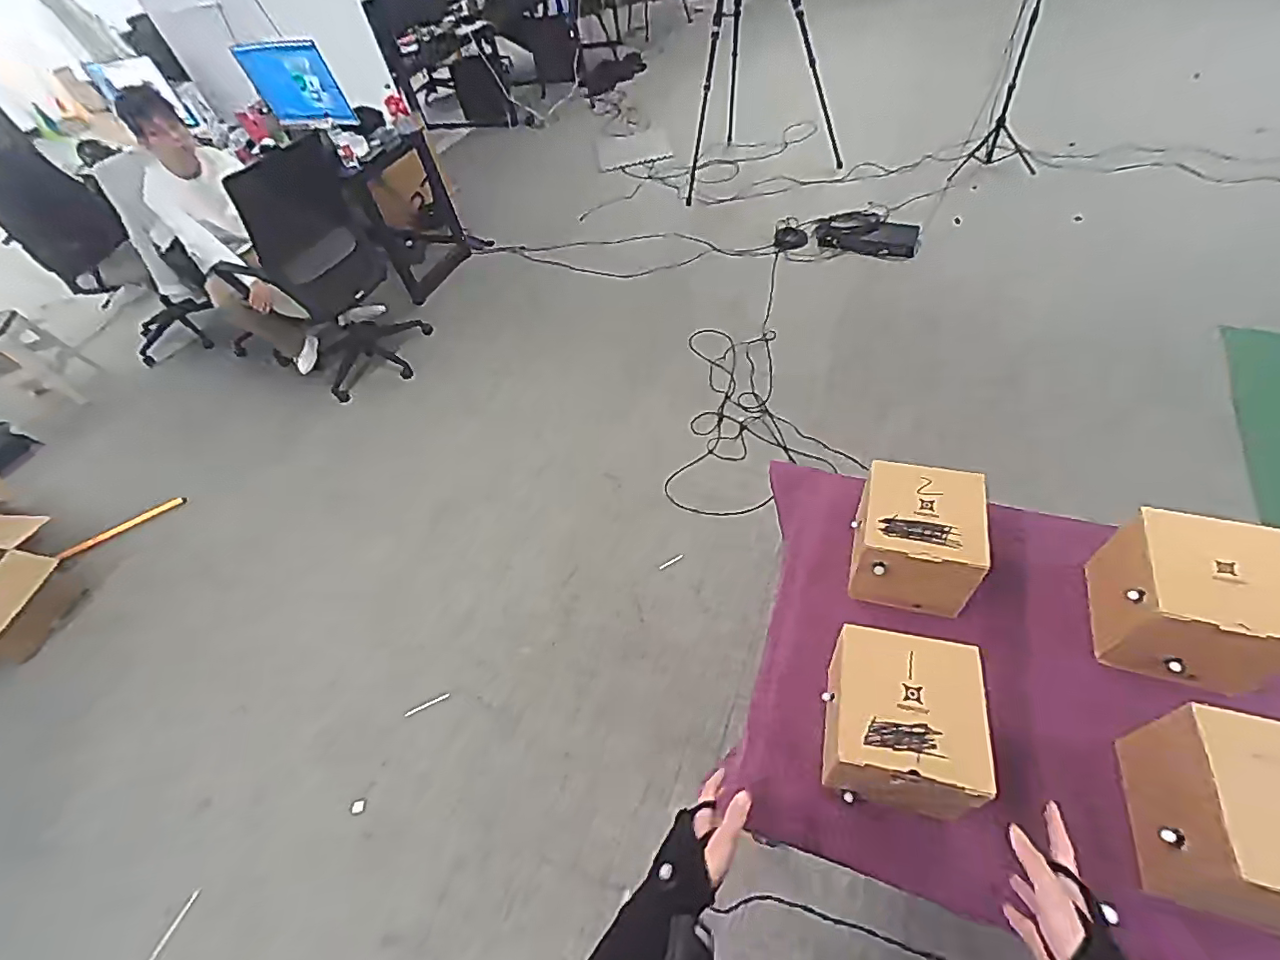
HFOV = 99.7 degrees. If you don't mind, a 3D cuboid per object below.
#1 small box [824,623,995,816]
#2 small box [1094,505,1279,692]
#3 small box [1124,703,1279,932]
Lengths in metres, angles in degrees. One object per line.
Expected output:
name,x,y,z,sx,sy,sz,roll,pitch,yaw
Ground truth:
small box,0.341,0.318,0.713,0.168,0.176,0.179,7,51,16
small box,0.771,0.166,0.752,0.168,0.176,0.179,12,56,20
small box,0.685,0.380,0.595,0.168,0.176,0.179,10,53,18
